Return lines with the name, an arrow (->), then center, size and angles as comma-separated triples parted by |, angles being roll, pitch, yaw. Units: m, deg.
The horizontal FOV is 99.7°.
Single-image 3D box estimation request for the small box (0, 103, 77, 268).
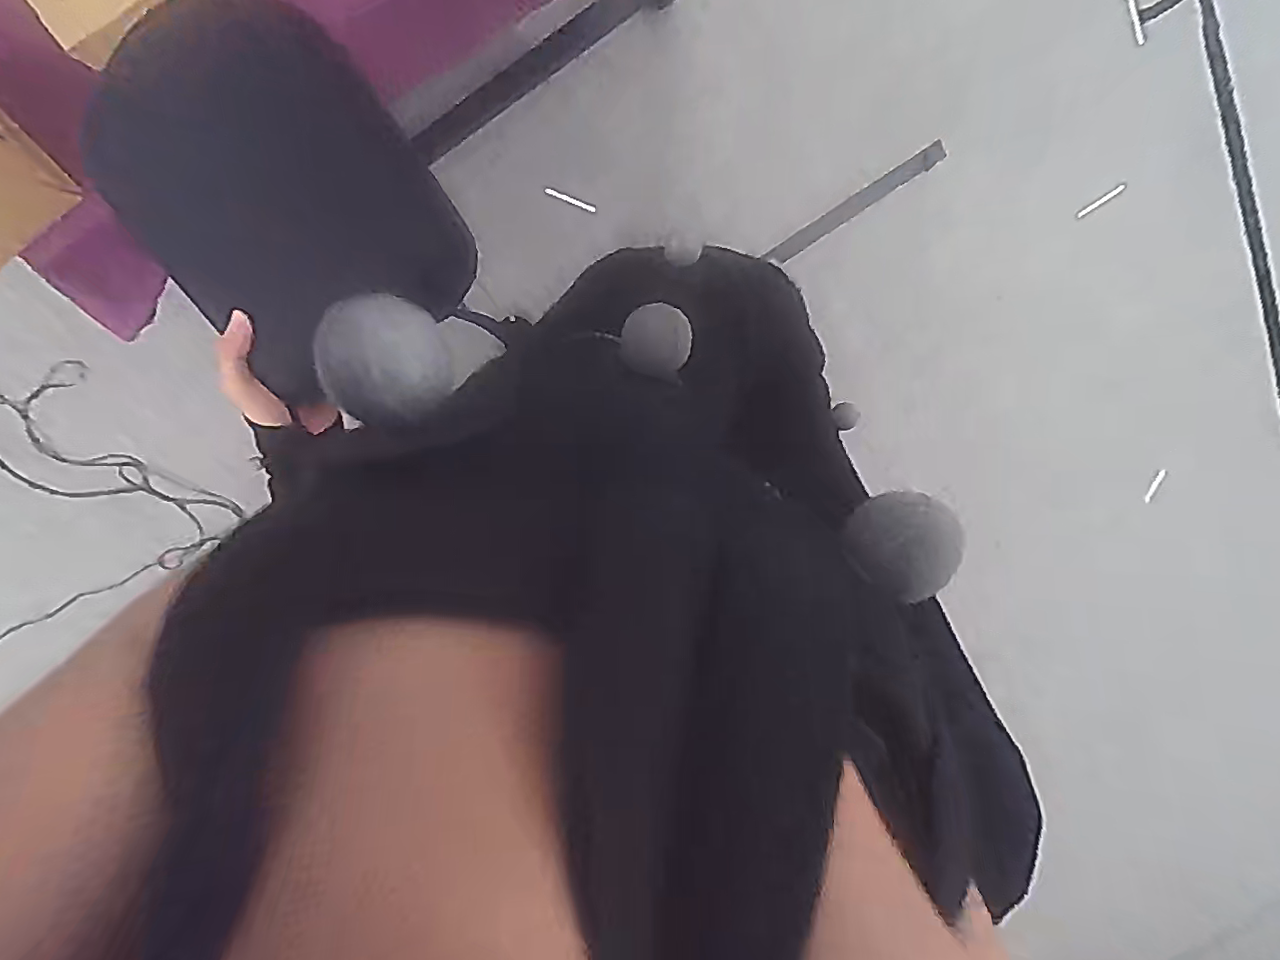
small box -> -0.812, -0.351, 0.598 | 0.179, 0.176, 0.168 | -37, 108, 4
